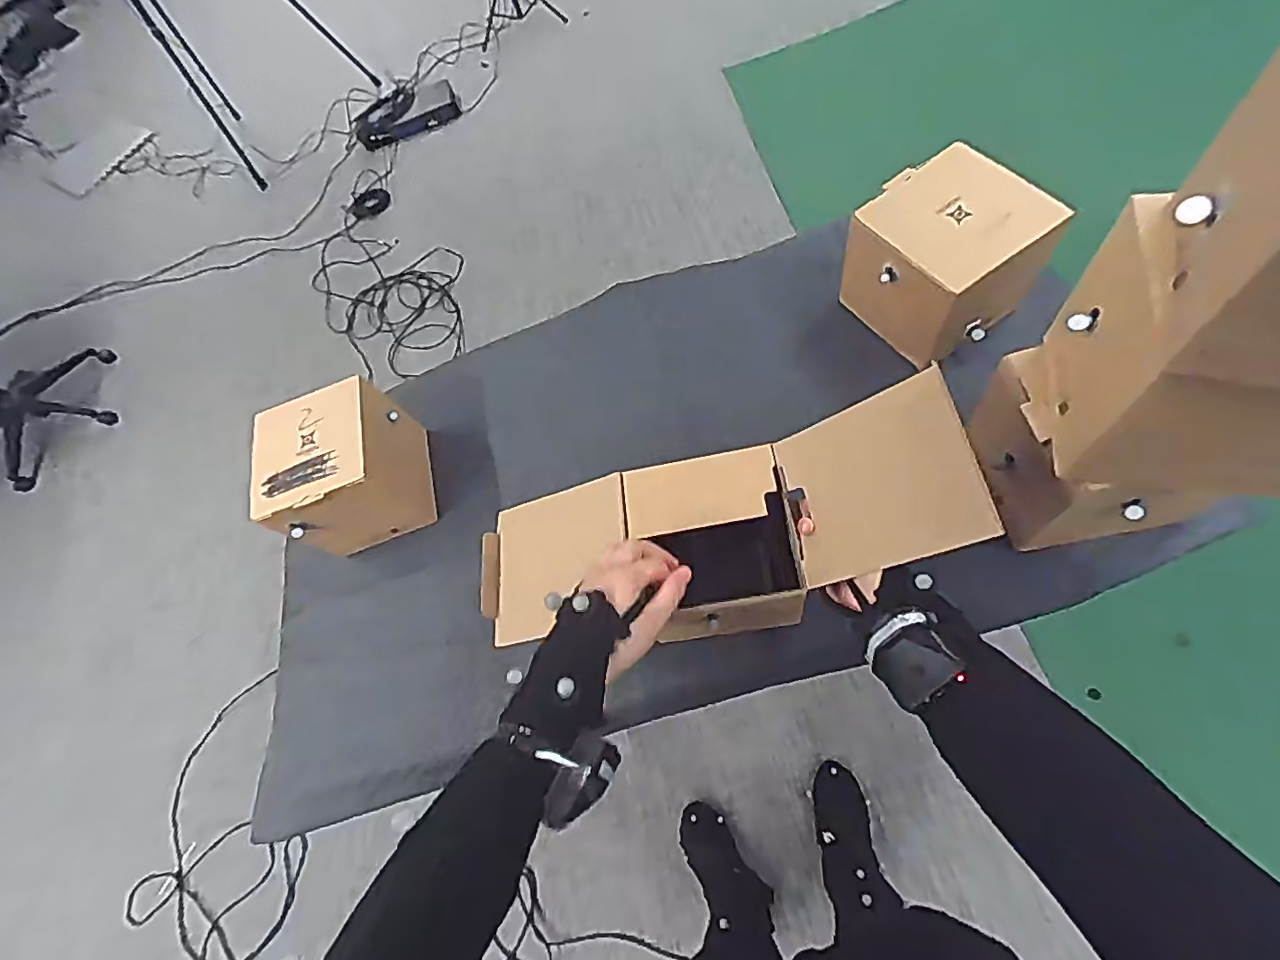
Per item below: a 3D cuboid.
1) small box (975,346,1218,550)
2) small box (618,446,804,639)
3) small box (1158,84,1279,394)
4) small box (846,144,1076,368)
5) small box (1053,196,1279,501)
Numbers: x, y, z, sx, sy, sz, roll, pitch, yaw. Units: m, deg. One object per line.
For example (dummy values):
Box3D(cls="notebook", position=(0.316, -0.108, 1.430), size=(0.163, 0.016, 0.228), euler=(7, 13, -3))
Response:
Box3D(cls="small box", position=(0.488, -0.038, 0.574), size=(0.179, 0.176, 0.168), euler=(-13, 62, 9))
Box3D(cls="small box", position=(0.084, 0.083, 0.624), size=(0.179, 0.176, 0.168), euler=(-10, 65, 9))
Box3D(cls="small box", position=(0.422, -0.146, 0.269), size=(0.179, 0.176, 0.168), euler=(17, 69, 22))
Box3D(cls="small box", position=(0.395, -0.282, 0.708), size=(0.168, 0.176, 0.179), euler=(-34, 65, 0))
Box3D(cls="small box", position=(0.456, -0.095, 0.424), size=(0.179, 0.176, 0.168), euler=(7, 66, 17))
